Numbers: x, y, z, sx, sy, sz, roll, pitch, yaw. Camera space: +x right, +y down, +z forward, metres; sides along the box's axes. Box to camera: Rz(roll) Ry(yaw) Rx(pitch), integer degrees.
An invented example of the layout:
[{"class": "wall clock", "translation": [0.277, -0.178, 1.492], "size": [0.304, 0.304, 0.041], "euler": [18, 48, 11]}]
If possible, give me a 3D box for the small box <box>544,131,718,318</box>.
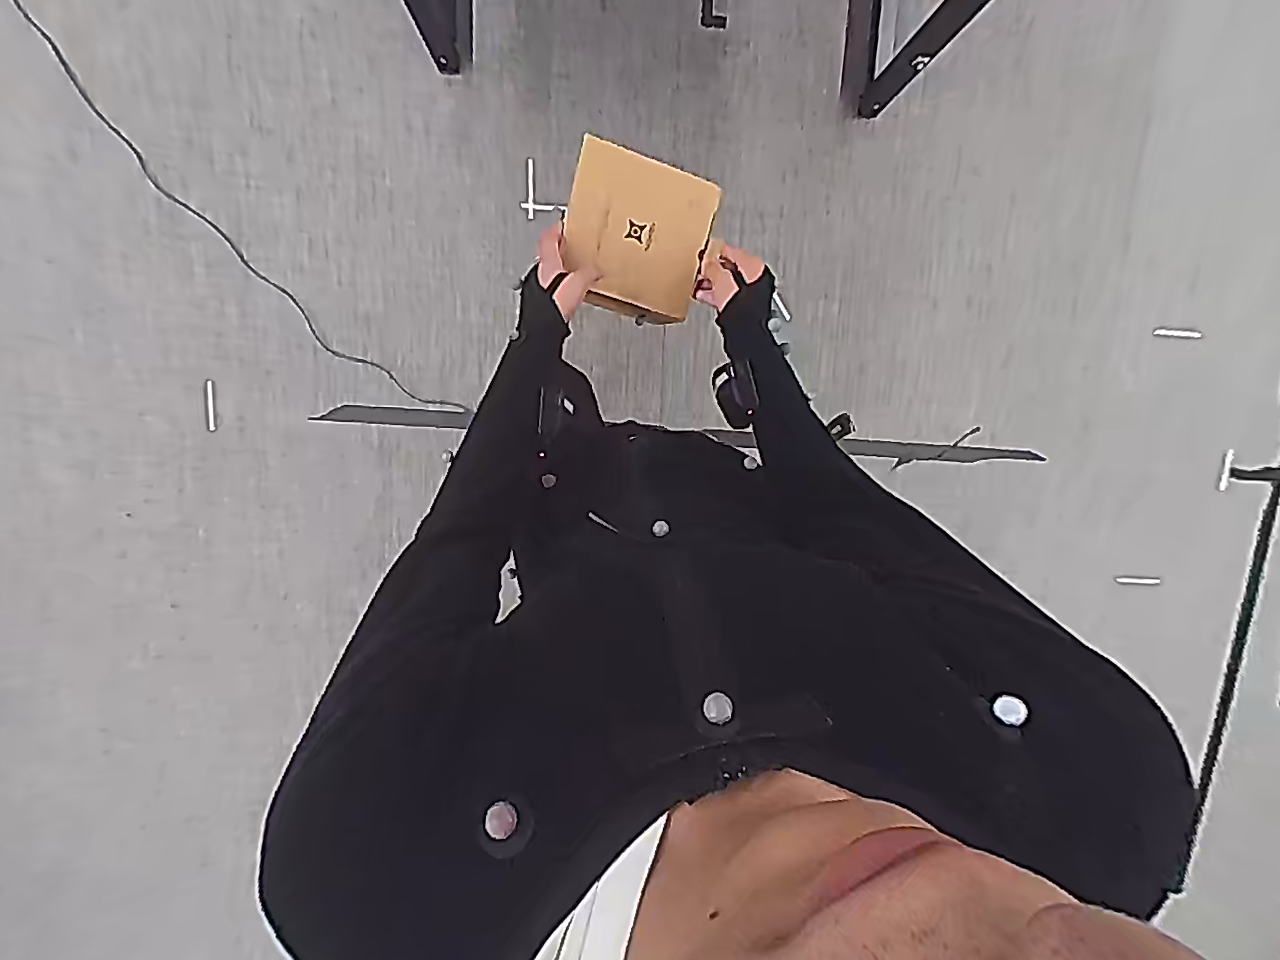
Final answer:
[{"class": "small box", "translation": [-0.023, -0.321, 0.723], "size": [0.179, 0.176, 0.168], "euler": [13, 101, -15]}]
